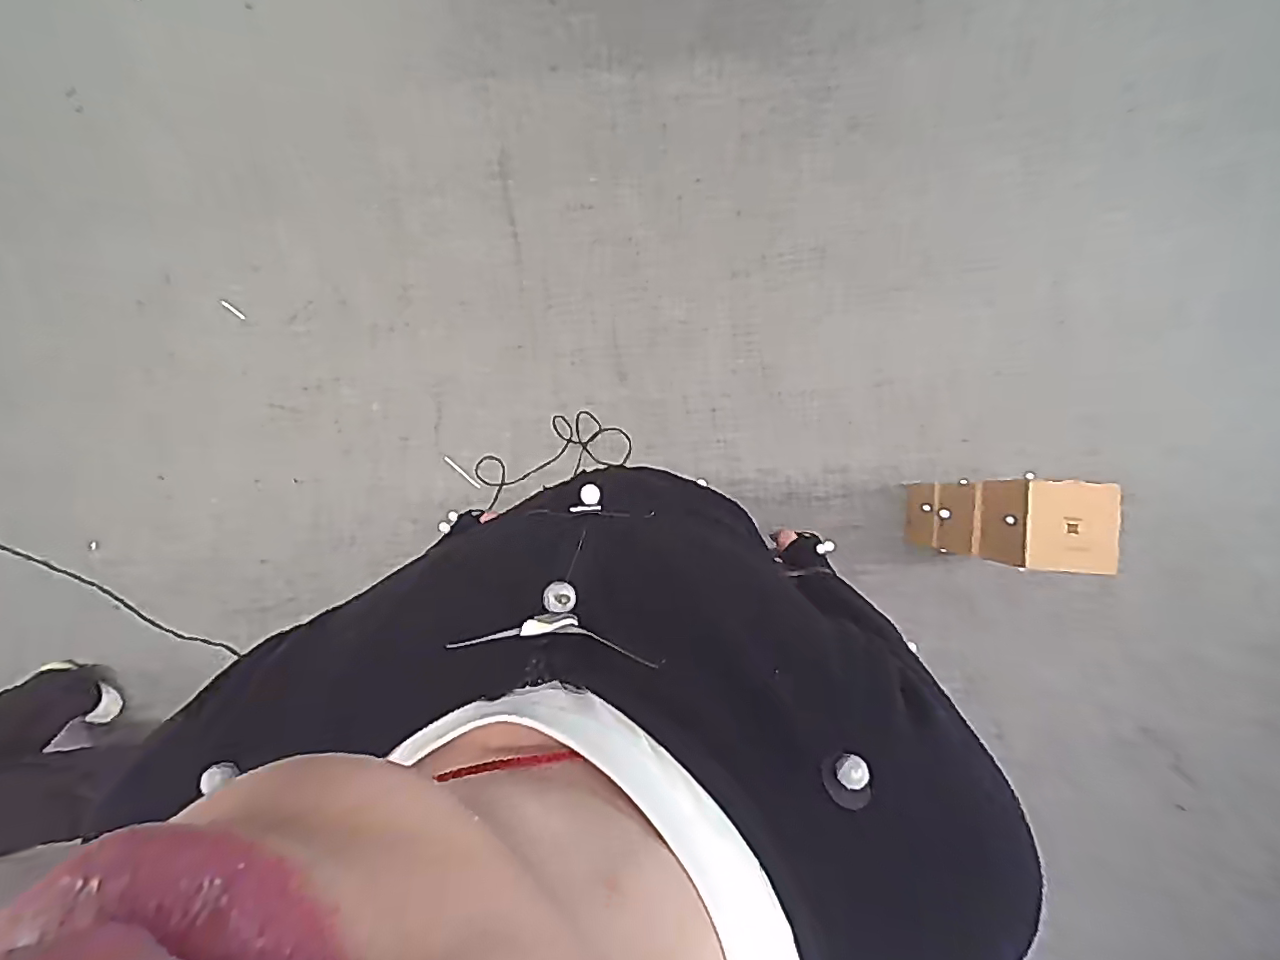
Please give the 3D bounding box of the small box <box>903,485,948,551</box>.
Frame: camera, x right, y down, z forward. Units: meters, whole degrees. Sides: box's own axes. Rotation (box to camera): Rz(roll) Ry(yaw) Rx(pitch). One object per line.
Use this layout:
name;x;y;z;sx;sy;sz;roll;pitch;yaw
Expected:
small box;0.827;0.101;1.431;0.179;0.176;0.168;4;89;3

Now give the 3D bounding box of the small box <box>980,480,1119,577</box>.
small box;0.824;0.093;1.104;0.168;0.176;0.179;3;90;5

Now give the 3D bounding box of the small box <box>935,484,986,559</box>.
small box;0.826;0.099;1.266;0.179;0.176;0.168;5;89;4
